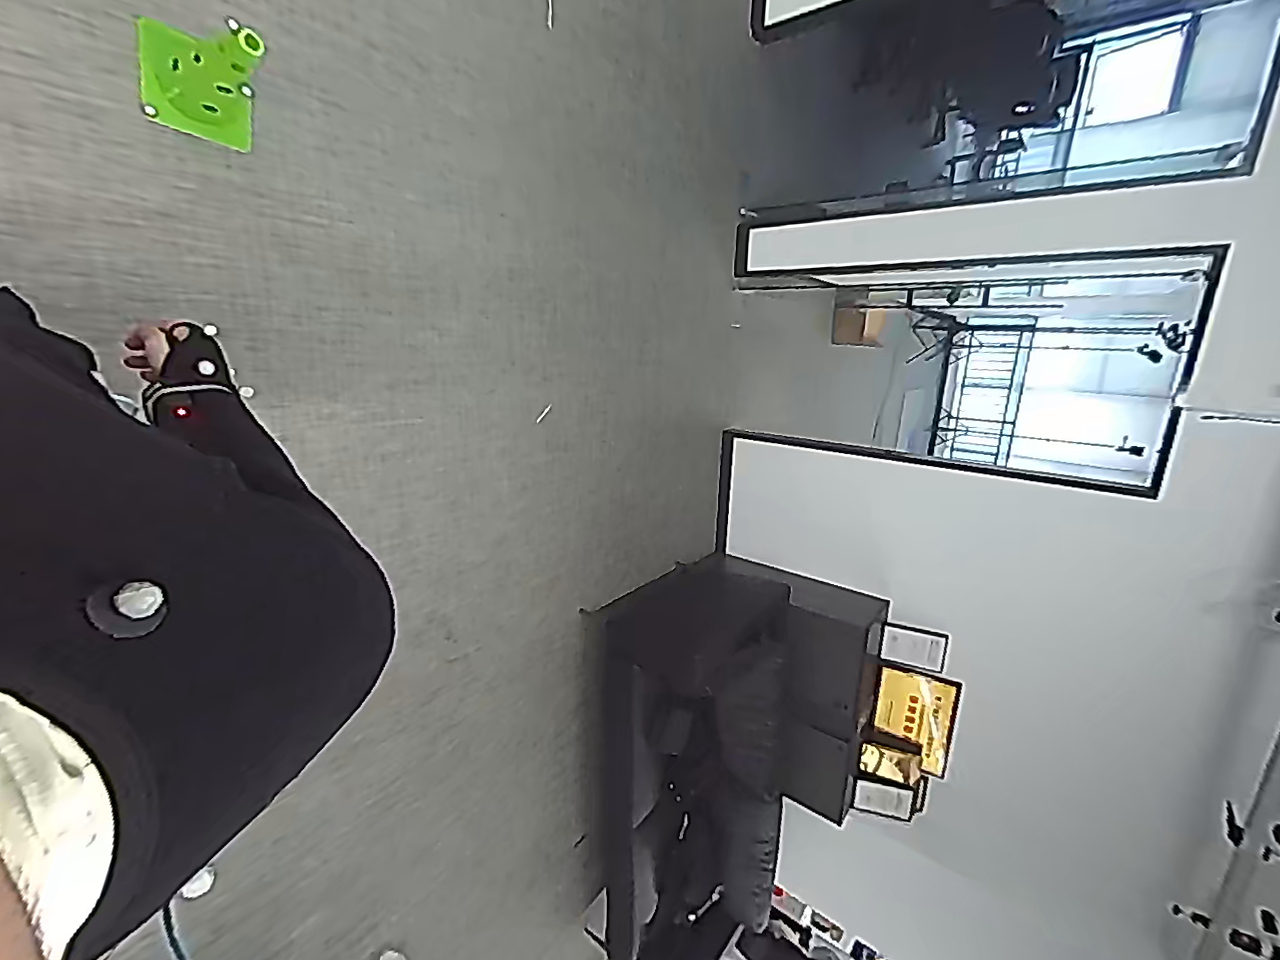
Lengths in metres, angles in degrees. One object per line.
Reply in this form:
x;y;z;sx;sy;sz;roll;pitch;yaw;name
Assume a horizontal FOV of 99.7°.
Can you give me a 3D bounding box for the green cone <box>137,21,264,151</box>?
-0.864;-0.855;1.121;0.200;0.368;0.202;-8;105;-52;green cone
